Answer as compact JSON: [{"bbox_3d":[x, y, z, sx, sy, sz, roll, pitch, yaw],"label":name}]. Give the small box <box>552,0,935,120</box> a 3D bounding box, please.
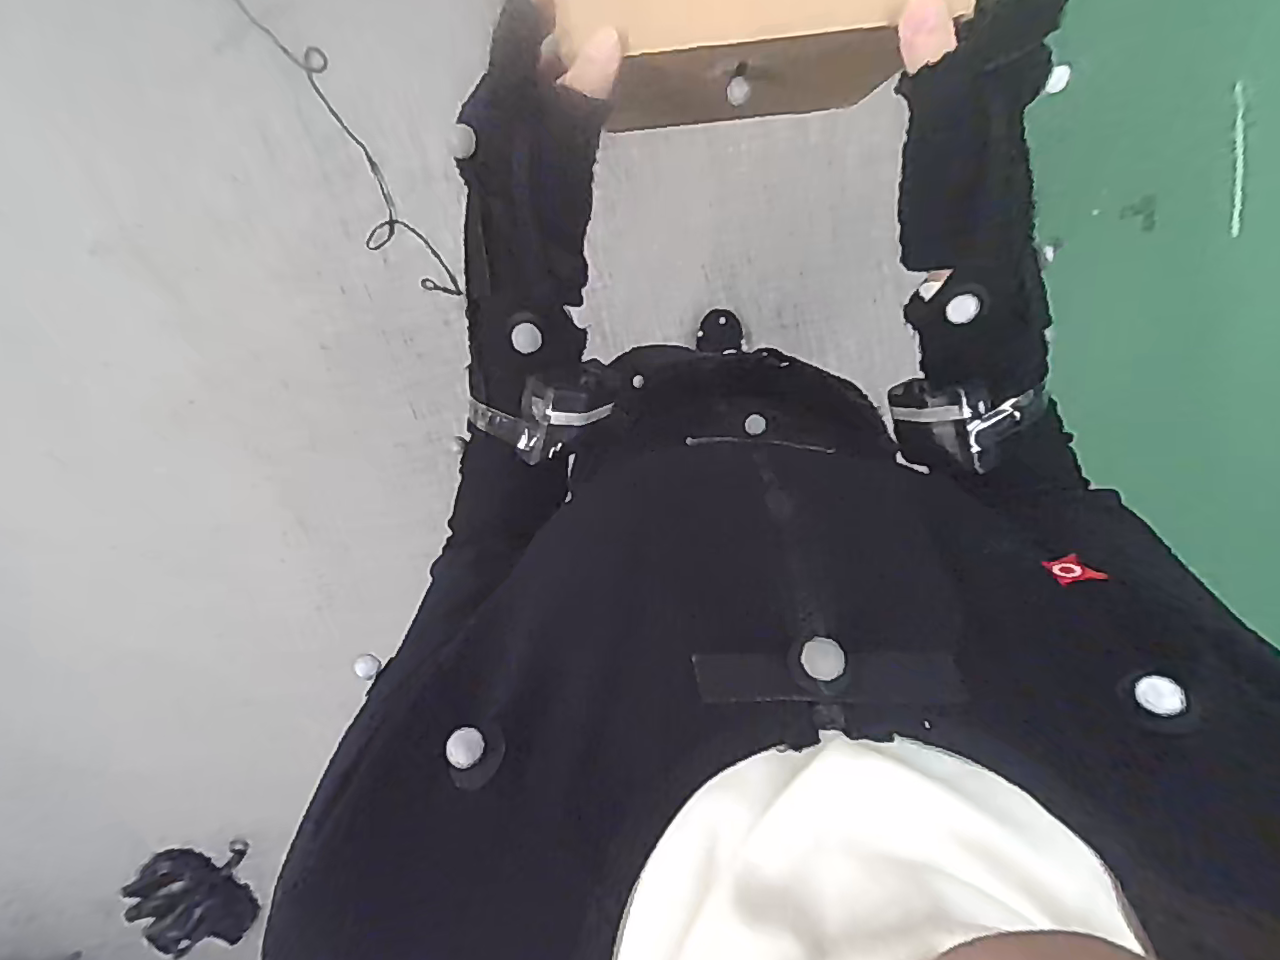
[{"bbox_3d":[0.047,-0.305,0.278,0.179,0.176,0.168,-4,113,5],"label":"small box"}]
